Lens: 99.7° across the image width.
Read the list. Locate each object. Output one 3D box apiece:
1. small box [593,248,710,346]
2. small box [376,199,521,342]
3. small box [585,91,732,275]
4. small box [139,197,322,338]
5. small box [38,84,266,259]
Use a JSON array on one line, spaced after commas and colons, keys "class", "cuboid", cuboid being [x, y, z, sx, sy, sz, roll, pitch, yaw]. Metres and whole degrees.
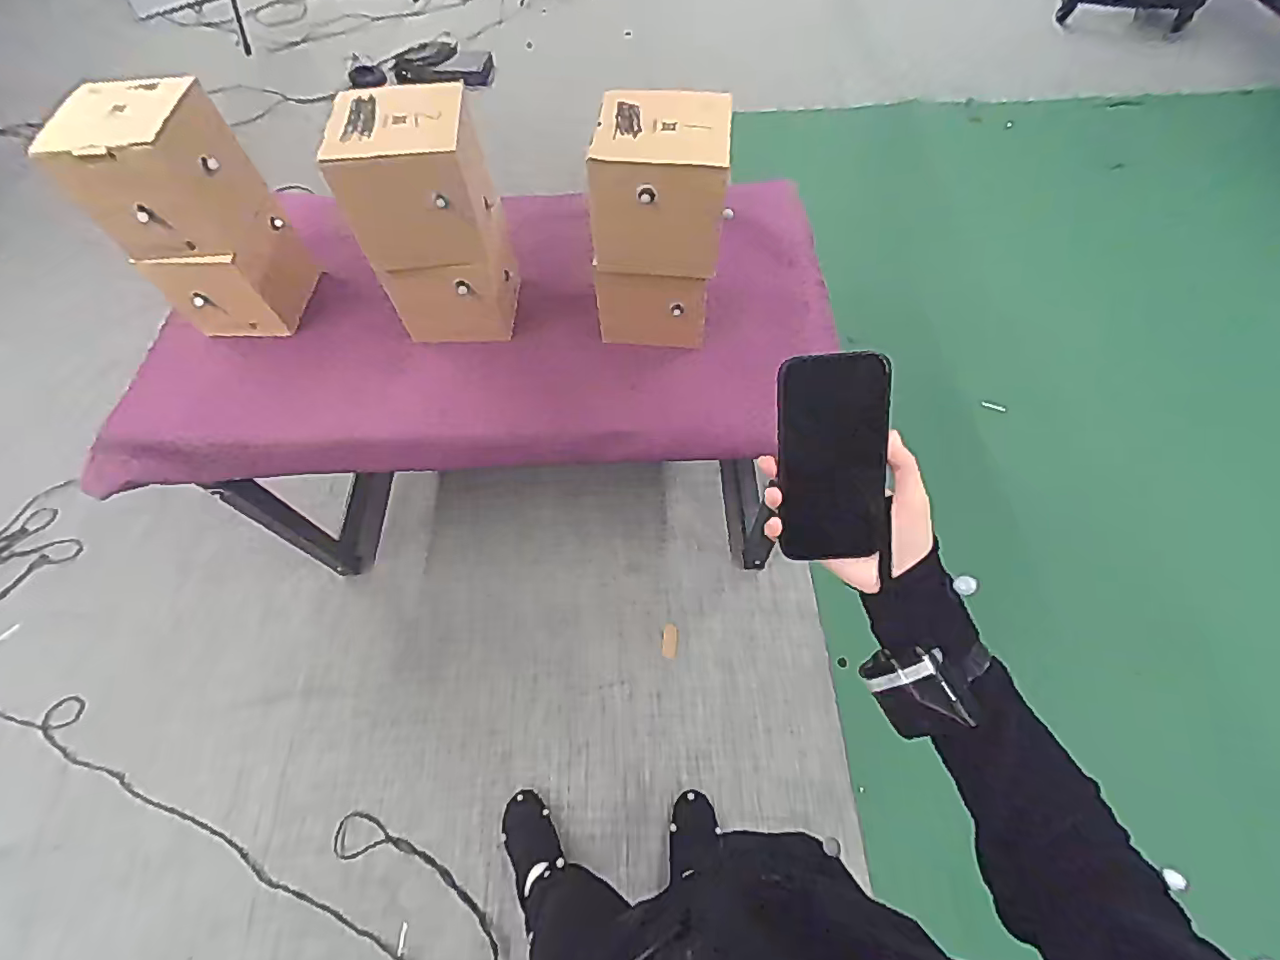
[{"class": "small box", "cuboid": [0.028, -0.343, 0.908, 0.179, 0.176, 0.168, 5, 61, 6]}, {"class": "small box", "cuboid": [-0.312, -0.352, 0.927, 0.179, 0.176, 0.168, -1, 61, 2]}, {"class": "small box", "cuboid": [0.030, -0.410, 0.757, 0.179, 0.176, 0.168, 5, 61, 5]}, {"class": "small box", "cuboid": [-0.702, -0.366, 0.954, 0.168, 0.176, 0.179, 0, 61, 3]}, {"class": "small box", "cuboid": [-0.708, -0.454, 0.814, 0.168, 0.176, 0.179, -4, 61, -1]}]
